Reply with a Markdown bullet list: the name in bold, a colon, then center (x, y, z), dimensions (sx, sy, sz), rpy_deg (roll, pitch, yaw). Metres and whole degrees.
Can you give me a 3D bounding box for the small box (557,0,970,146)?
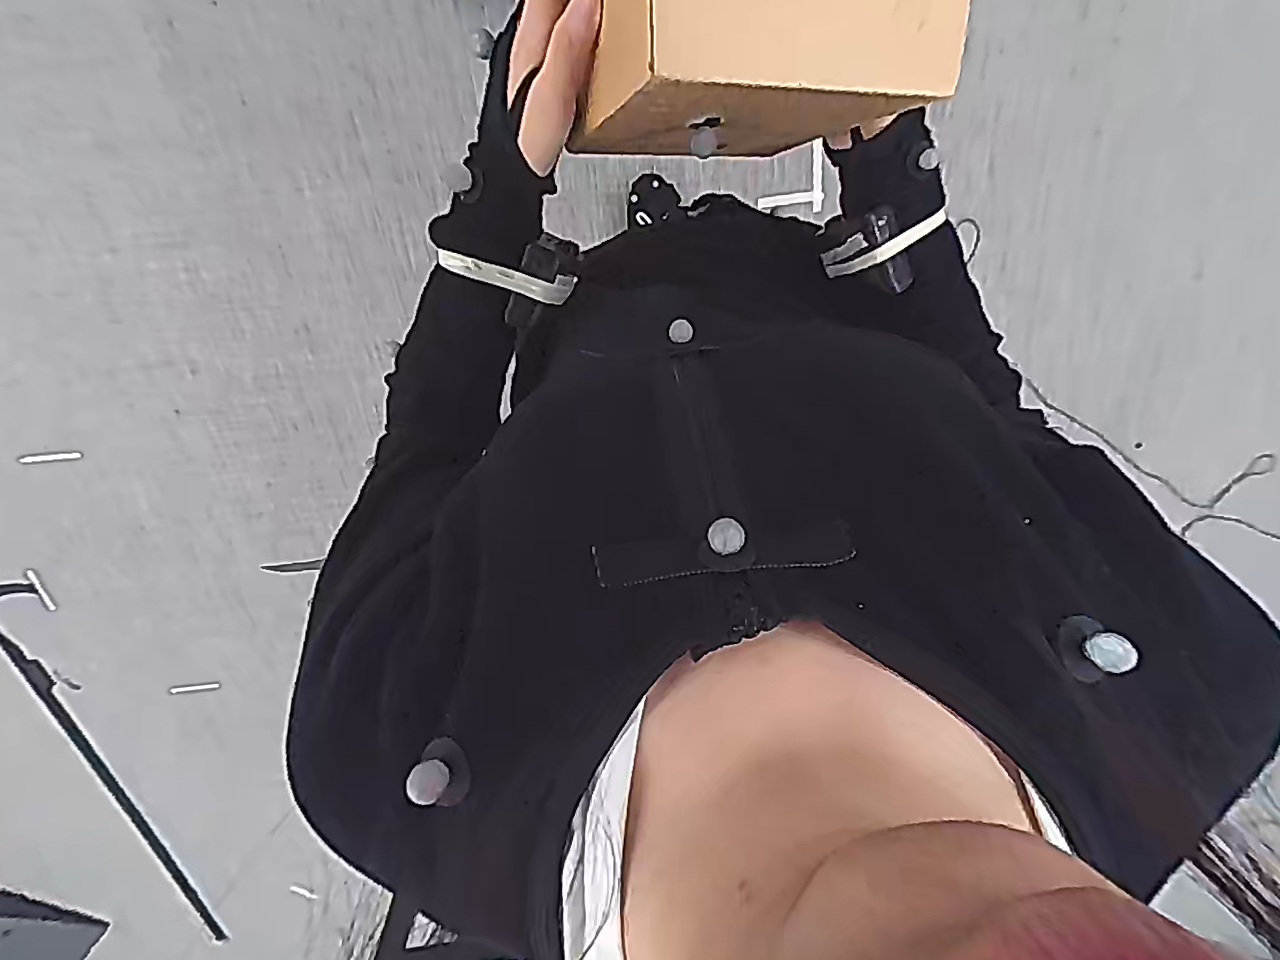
- **small box**: center (0.052, -0.293, 0.288), dimensions (0.168, 0.176, 0.179), rpy_deg (-10, 112, -17)
